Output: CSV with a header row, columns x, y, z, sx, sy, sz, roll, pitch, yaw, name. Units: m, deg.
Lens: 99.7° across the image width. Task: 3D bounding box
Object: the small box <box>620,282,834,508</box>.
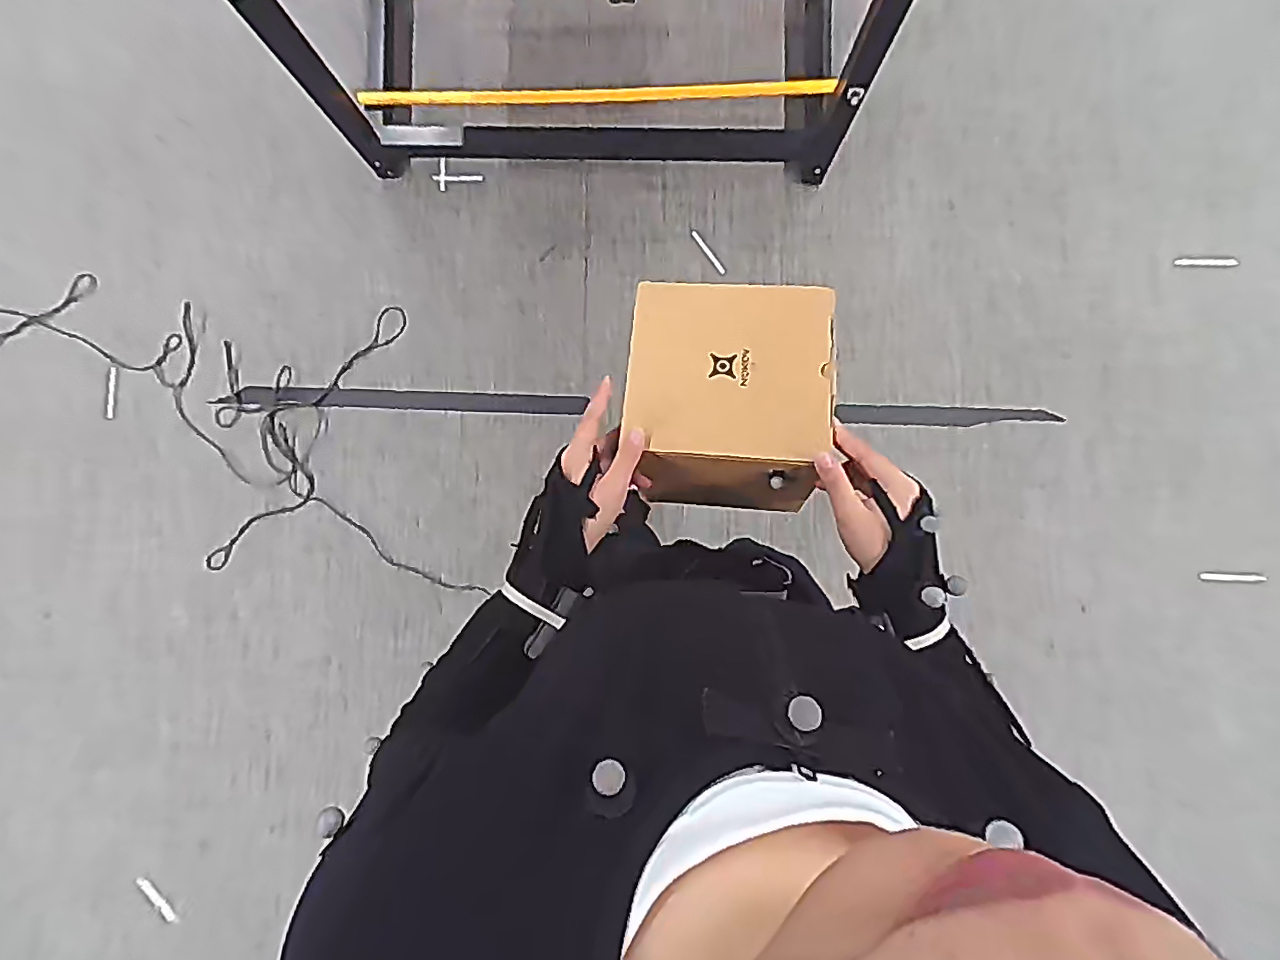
x,y,z,sx,sy,sz,roll,pitch,yaw,name
0.085,-0.074,0.539,0.179,0.176,0.168,4,74,7,small box
